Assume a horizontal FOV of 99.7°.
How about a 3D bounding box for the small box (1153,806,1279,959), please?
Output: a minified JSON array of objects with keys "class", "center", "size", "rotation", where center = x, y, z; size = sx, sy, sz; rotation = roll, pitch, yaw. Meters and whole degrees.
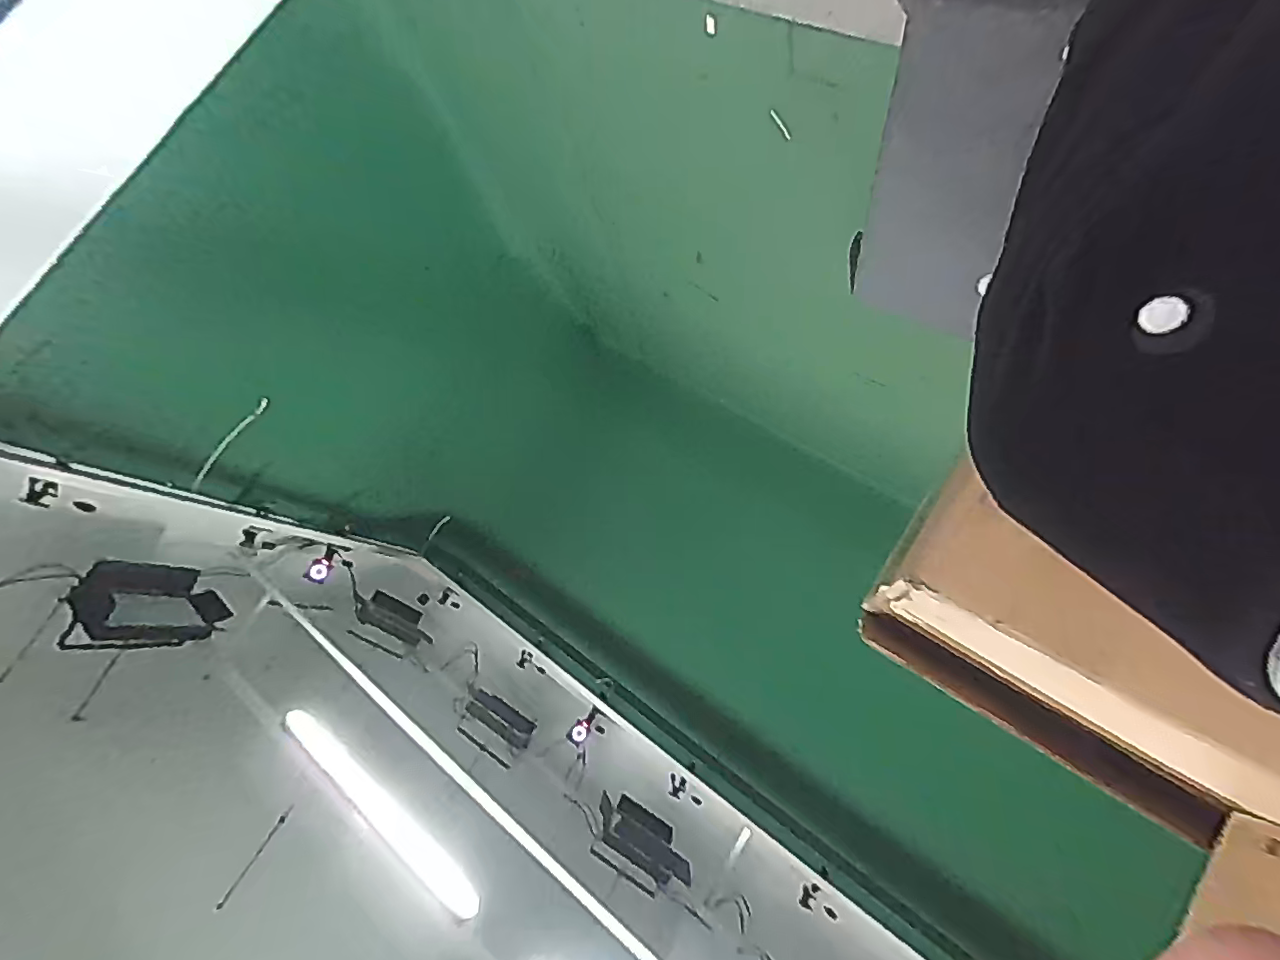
[{"class":"small box","center":[0.594,0.411,0.435],"size":[0.179,0.176,0.168],"rotation":[29,171,21]}]
